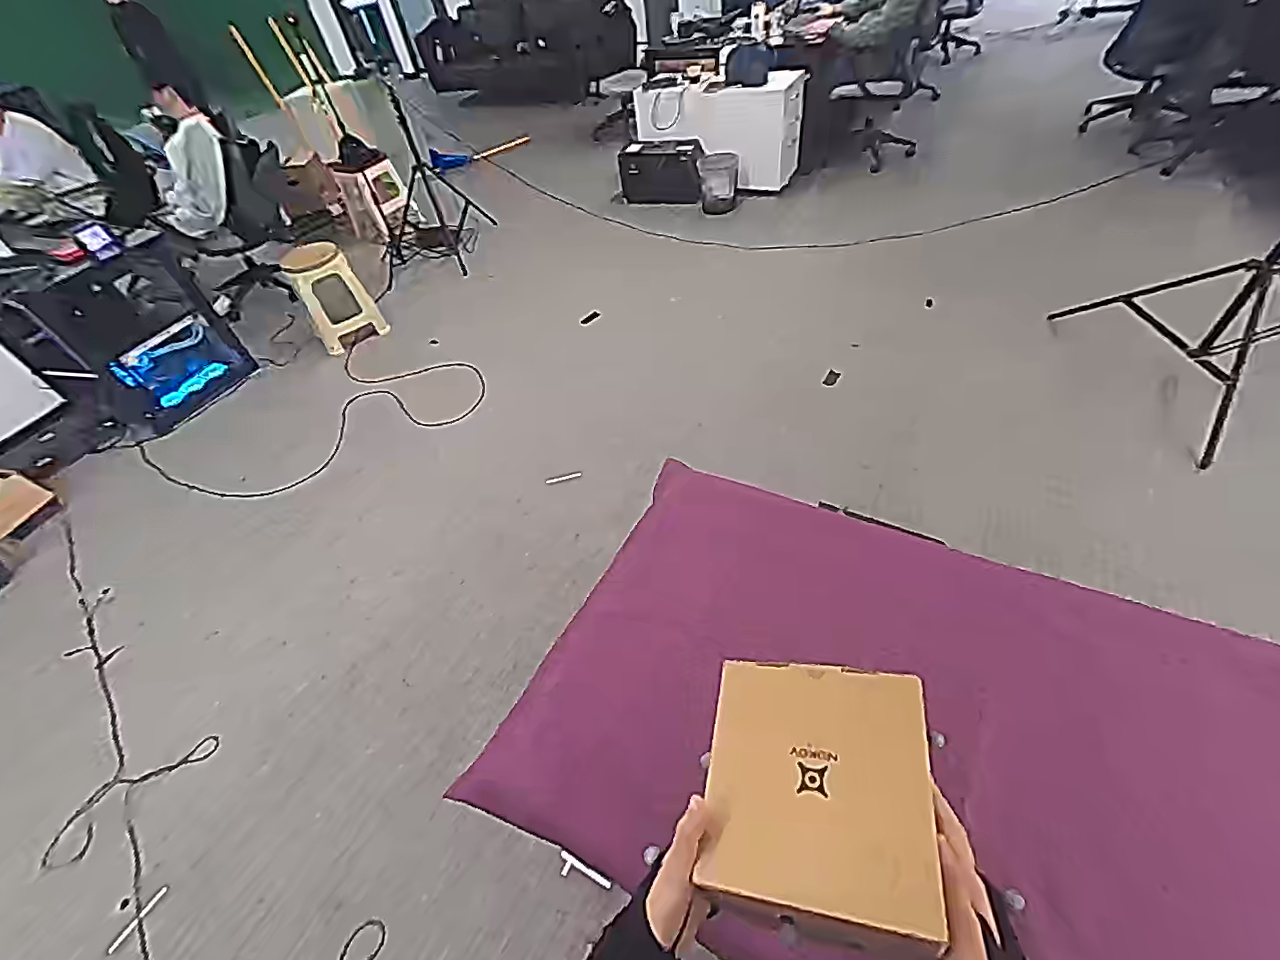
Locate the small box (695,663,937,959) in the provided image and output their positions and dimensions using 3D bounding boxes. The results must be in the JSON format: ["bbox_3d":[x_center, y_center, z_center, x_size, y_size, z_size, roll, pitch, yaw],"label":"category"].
[{"bbox_3d":[0.159,0.288,0.477,0.168,0.176,0.179,-3,43,22],"label":"small box"}]
